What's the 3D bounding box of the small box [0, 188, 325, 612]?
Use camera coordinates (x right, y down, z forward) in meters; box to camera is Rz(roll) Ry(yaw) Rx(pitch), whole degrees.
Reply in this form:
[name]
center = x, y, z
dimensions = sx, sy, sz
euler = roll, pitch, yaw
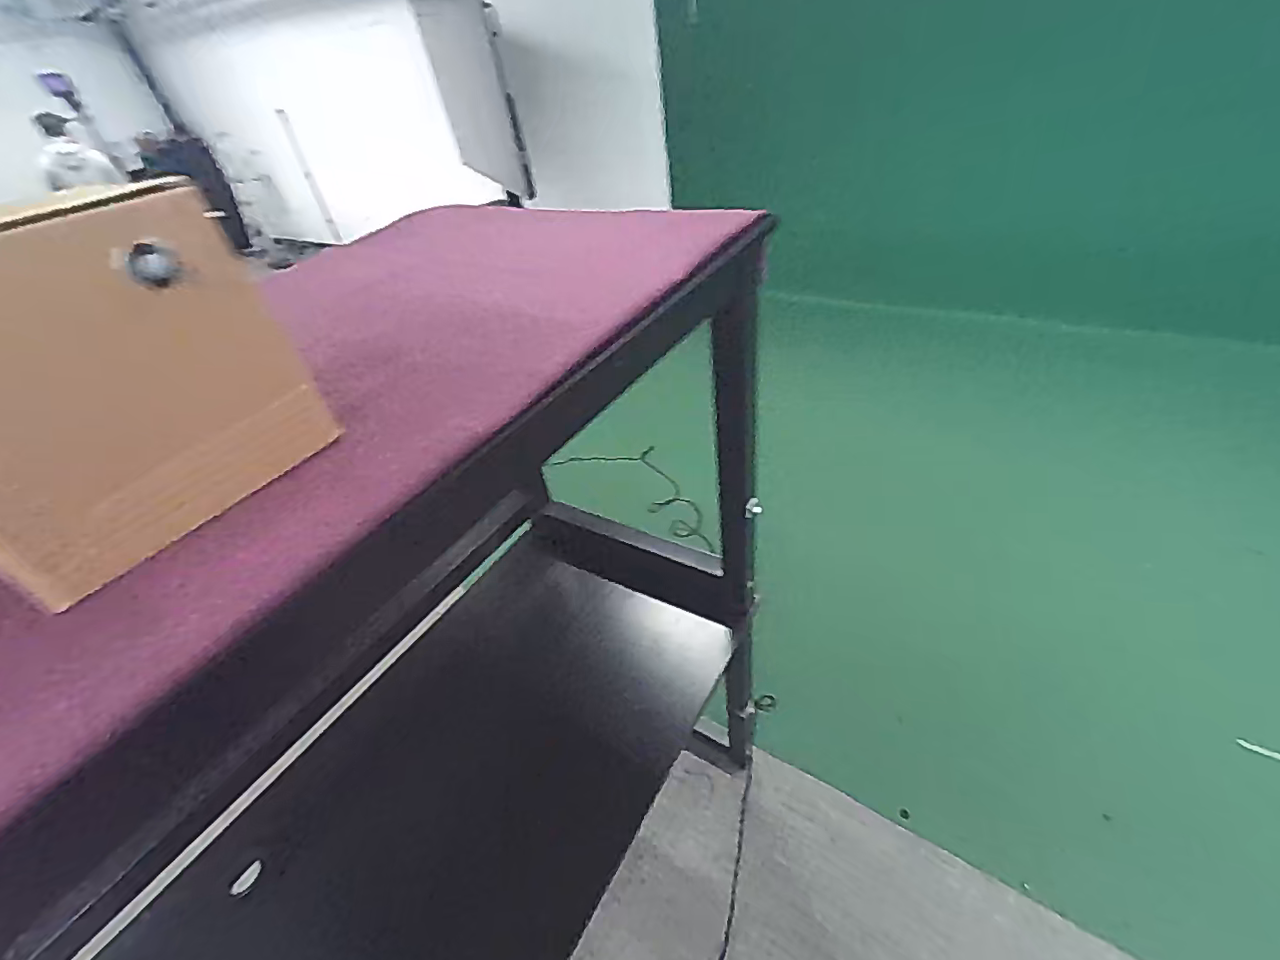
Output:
[small box]
center = -0.338, -0.054, 0.319
dimensions = 0.168, 0.176, 0.179
euler = 15, 45, 29
